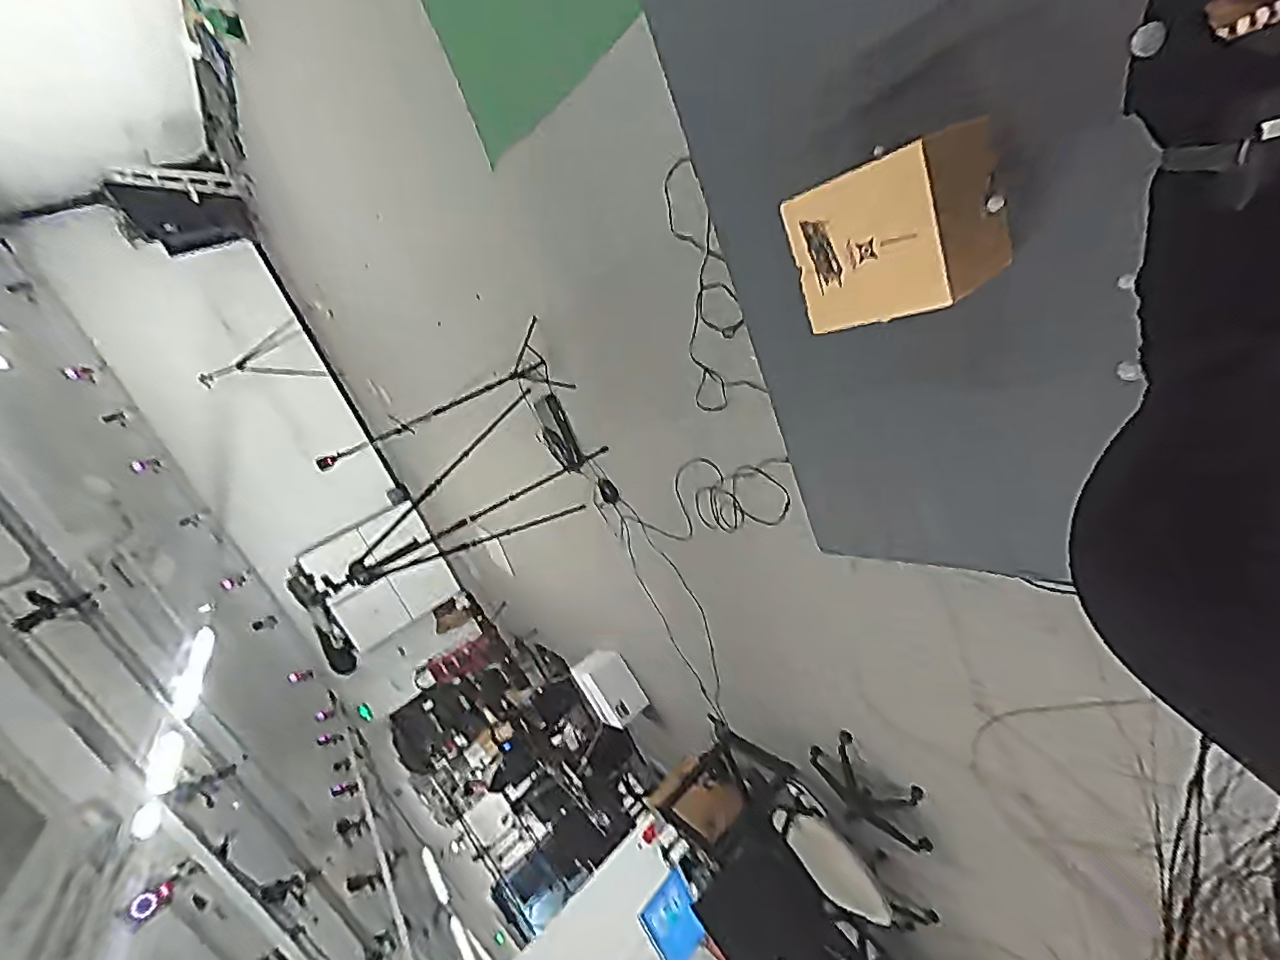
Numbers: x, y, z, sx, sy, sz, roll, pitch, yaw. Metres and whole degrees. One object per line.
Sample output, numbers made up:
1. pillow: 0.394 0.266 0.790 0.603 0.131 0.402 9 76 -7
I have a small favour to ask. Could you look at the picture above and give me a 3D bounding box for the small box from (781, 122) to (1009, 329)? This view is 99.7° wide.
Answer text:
1. small box: 0.308 -0.300 0.655 0.179 0.176 0.168 5 122 54
